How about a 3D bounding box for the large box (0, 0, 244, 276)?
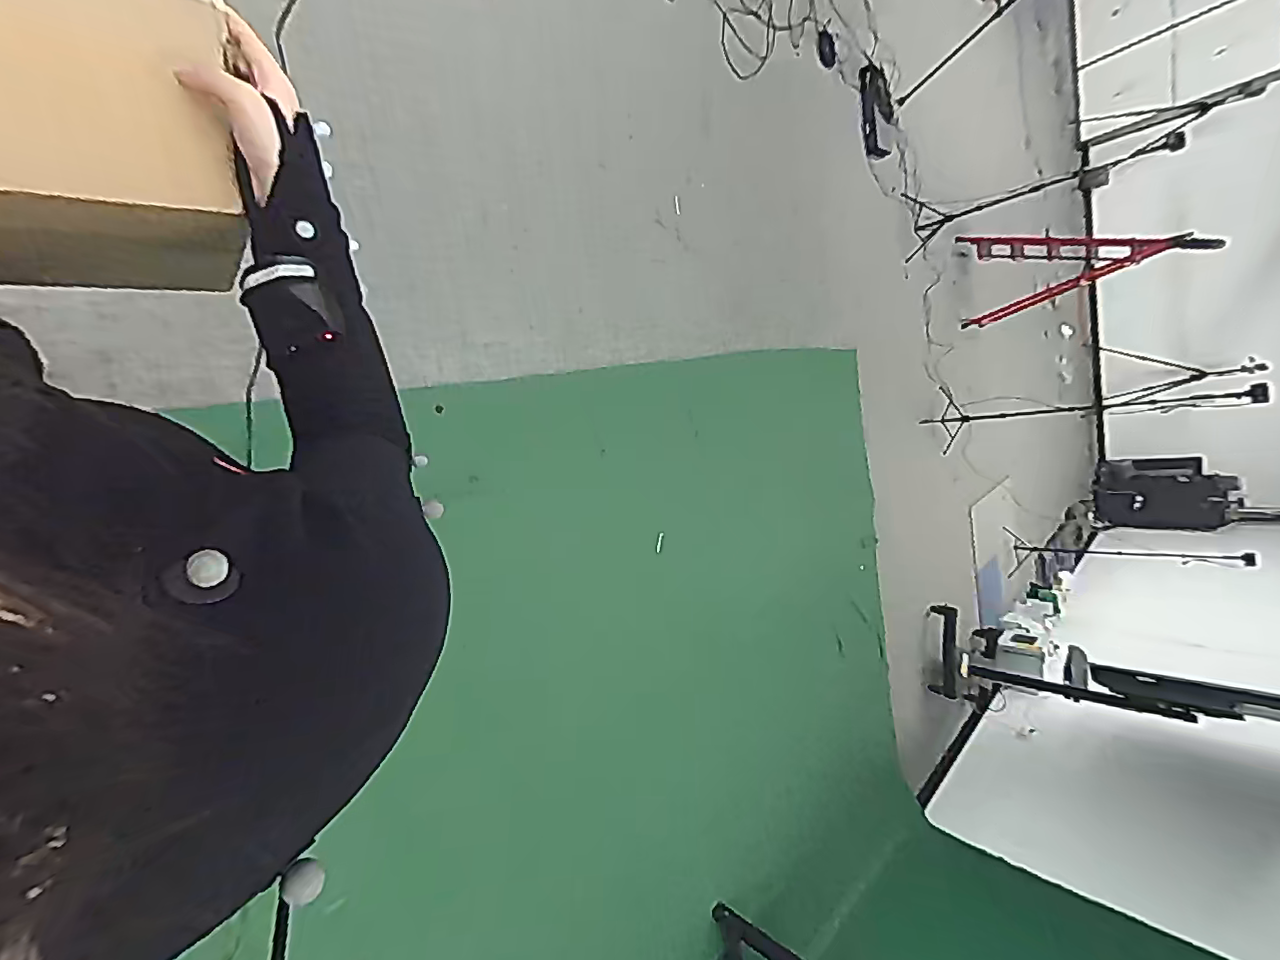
[{"bbox_3d":[-0.579,-0.344,0.404,0.408,0.320,0.320,-14,102,-37],"label":"large box"}]
